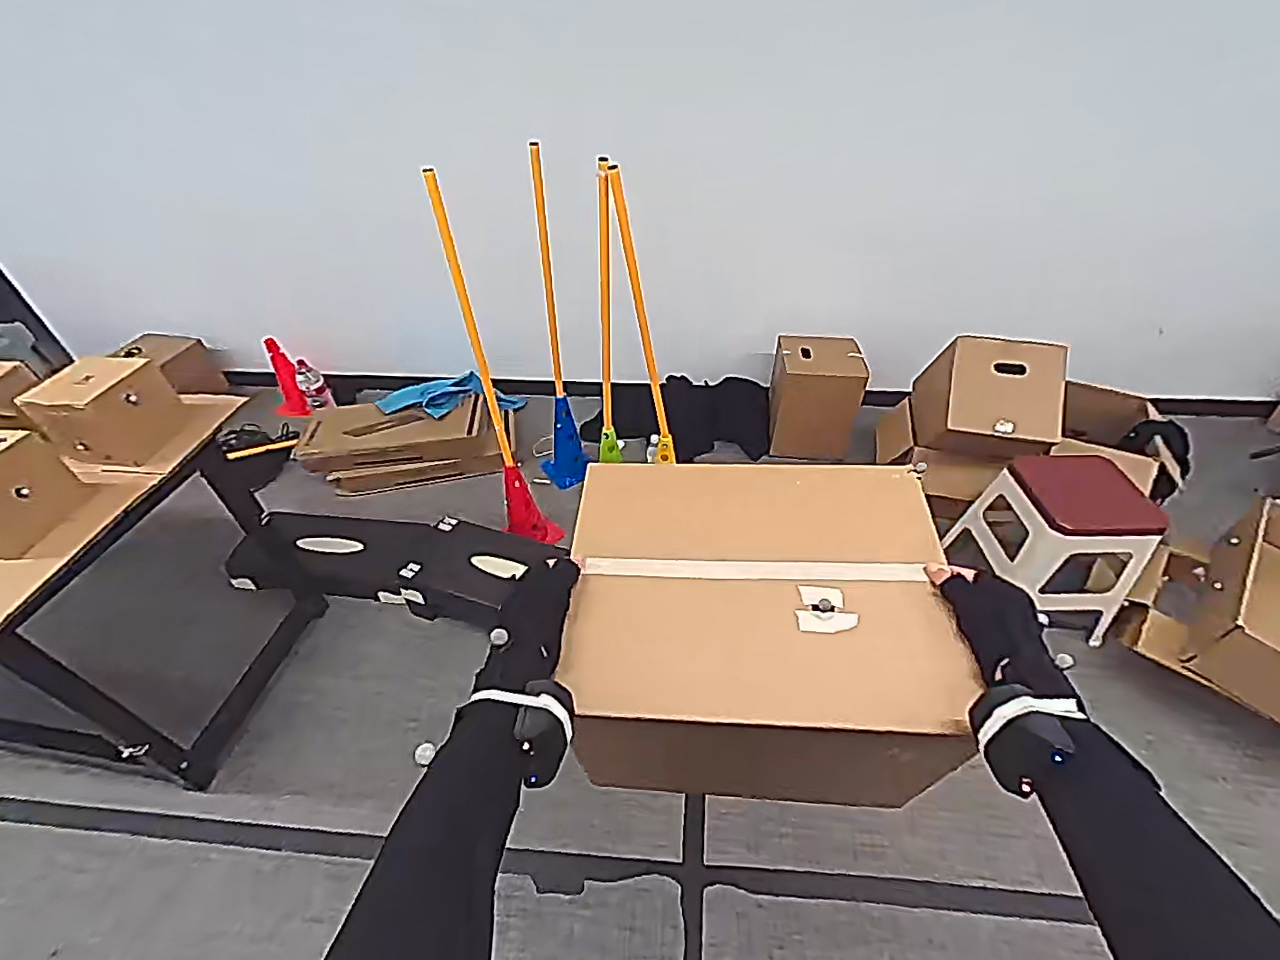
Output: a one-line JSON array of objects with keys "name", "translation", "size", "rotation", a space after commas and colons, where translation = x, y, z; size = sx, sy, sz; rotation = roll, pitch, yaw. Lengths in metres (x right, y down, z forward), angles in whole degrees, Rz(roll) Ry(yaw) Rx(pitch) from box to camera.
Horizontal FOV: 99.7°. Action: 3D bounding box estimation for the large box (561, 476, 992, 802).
[{"name": "large box", "translation": [0.136, 0.209, 0.707], "size": [0.408, 0.320, 0.320], "rotation": [0, 49, 5]}]
